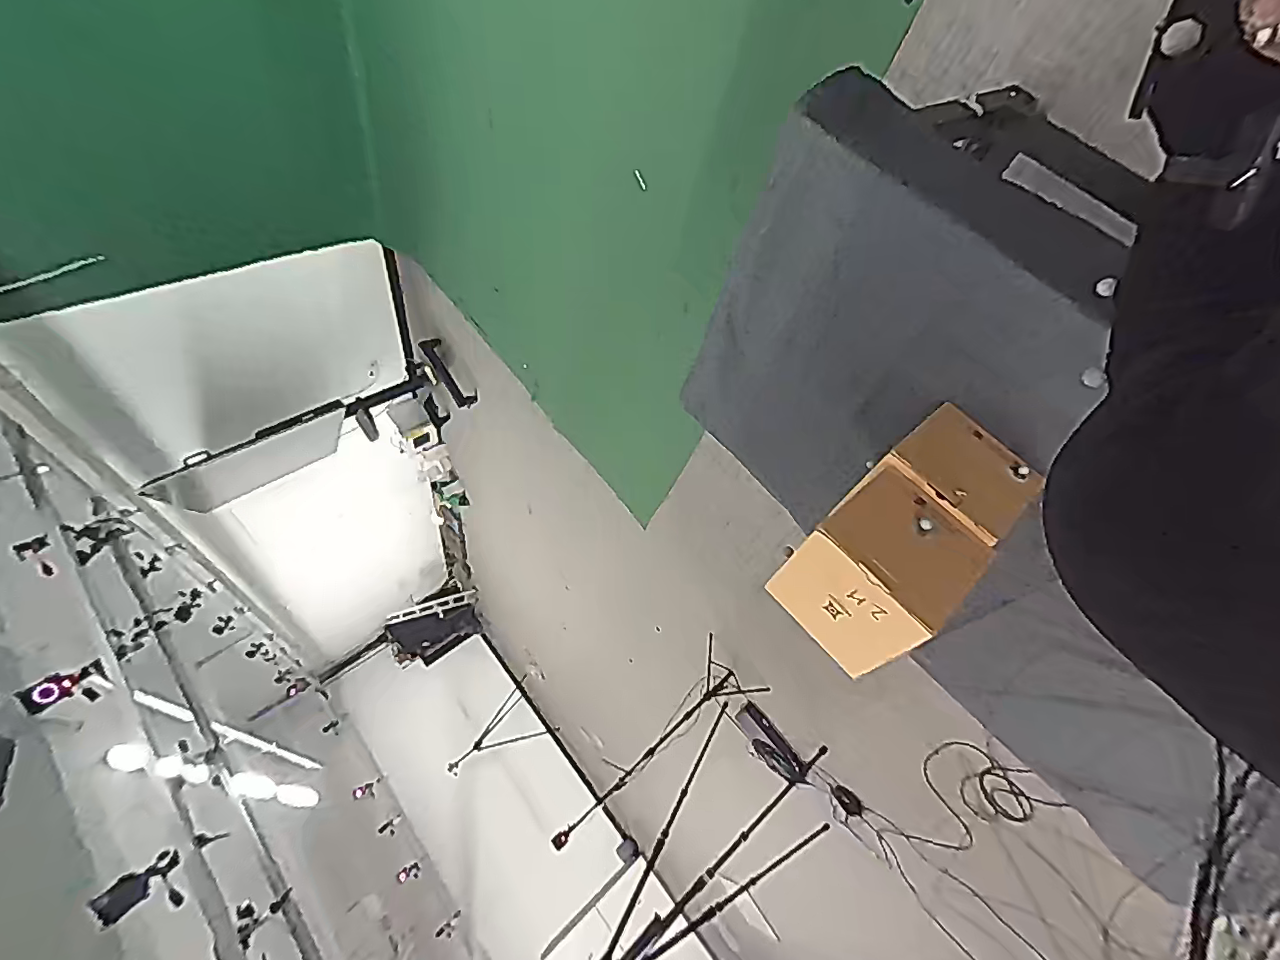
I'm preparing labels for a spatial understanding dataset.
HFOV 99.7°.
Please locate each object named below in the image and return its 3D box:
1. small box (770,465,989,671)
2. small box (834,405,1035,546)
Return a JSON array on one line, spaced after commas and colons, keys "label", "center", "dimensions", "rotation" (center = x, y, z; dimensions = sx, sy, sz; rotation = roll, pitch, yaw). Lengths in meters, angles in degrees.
[{"label": "small box", "center": [0.311, 0.114, 0.714], "dimensions": [0.168, 0.176, 0.179], "rotation": [46, 148, 19]}, {"label": "small box", "center": [0.427, 0.021, 0.786], "dimensions": [0.168, 0.176, 0.179], "rotation": [48, 150, 18]}]
